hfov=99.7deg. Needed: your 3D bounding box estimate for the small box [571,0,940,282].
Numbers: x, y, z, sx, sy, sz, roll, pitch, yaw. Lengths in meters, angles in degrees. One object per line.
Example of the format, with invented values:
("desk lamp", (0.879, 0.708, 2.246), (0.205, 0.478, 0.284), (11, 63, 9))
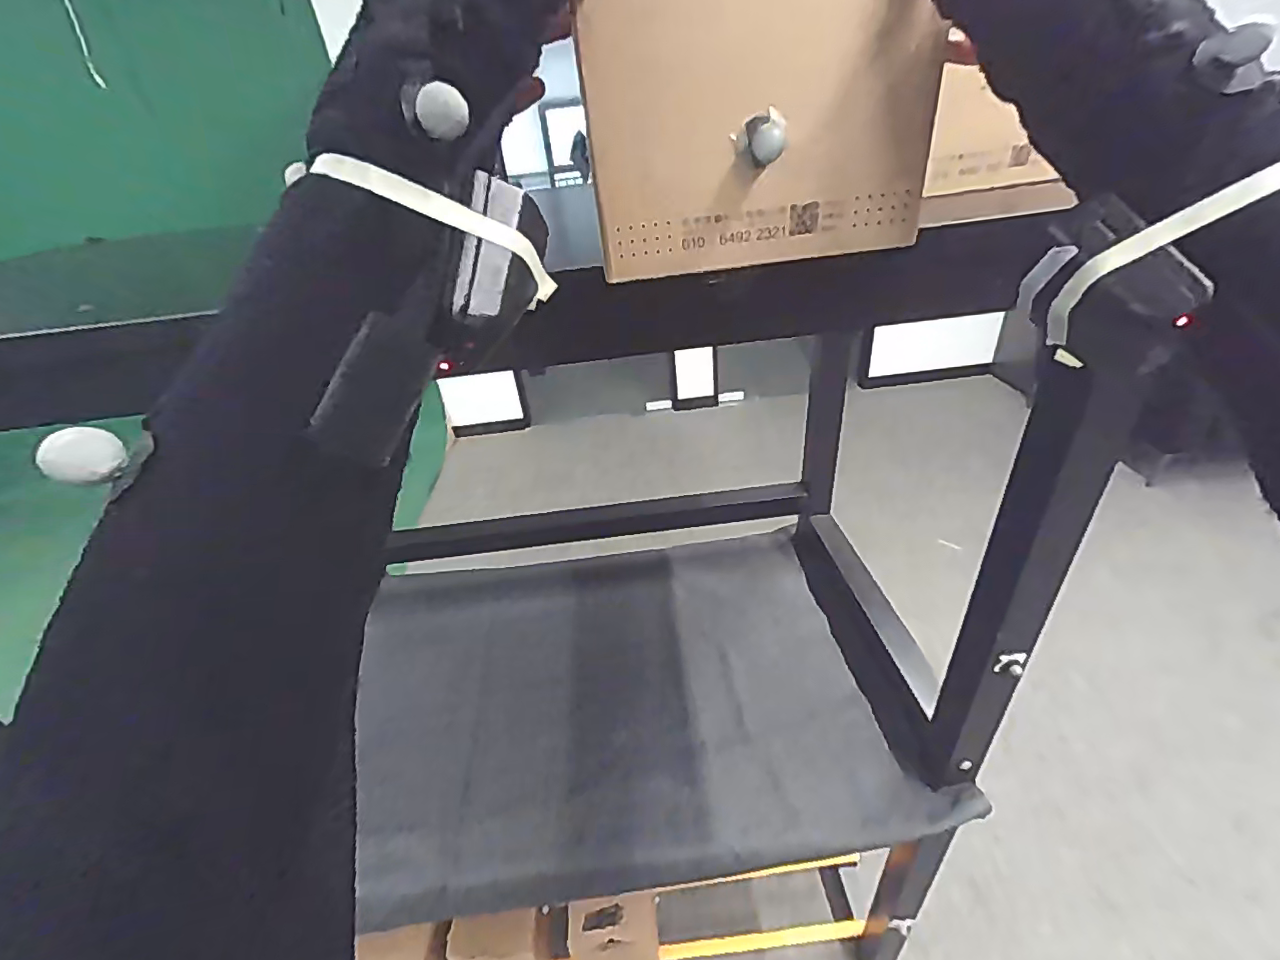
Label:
("small box", (0.050, -0.226, 0.324), (0.168, 0.176, 0.179), (-7, 33, 1))
